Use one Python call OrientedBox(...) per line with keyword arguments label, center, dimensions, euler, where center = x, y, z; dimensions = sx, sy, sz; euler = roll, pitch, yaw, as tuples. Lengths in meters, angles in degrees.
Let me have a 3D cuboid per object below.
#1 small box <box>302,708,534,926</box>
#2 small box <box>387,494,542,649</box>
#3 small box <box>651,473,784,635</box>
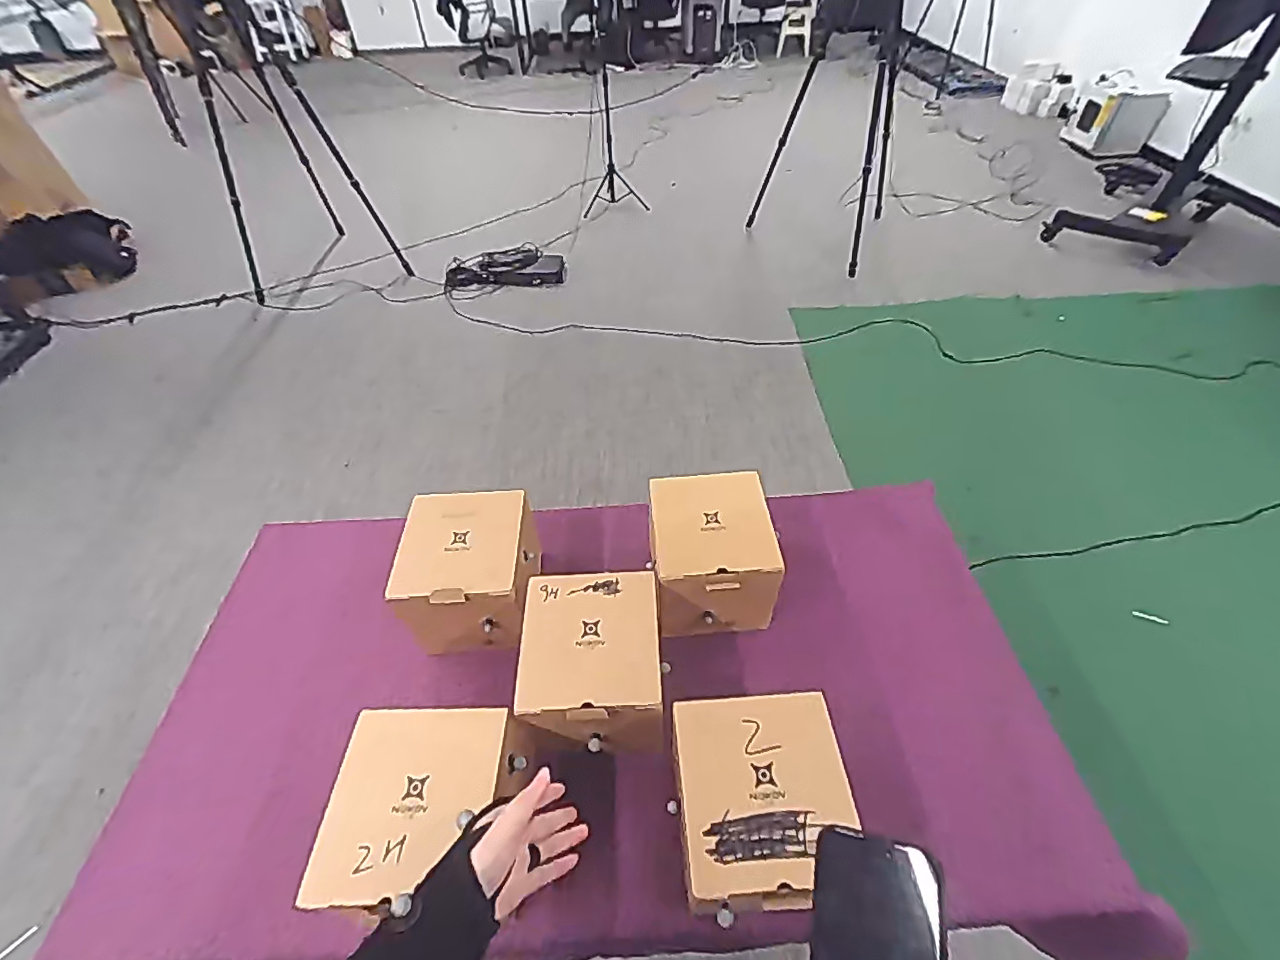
OrientedBox(label="small box", center=(-0.219, 0.371, 0.596), dimensions=(0.168, 0.176, 0.179), euler=(-2, 48, 2))
OrientedBox(label="small box", center=(-0.244, 0.142, 0.807), dimensions=(0.168, 0.176, 0.179), euler=(-2, 48, -1))
OrientedBox(label="small box", center=(0.104, 0.112, 0.815), dimensions=(0.168, 0.176, 0.179), euler=(-5, 49, -1))
